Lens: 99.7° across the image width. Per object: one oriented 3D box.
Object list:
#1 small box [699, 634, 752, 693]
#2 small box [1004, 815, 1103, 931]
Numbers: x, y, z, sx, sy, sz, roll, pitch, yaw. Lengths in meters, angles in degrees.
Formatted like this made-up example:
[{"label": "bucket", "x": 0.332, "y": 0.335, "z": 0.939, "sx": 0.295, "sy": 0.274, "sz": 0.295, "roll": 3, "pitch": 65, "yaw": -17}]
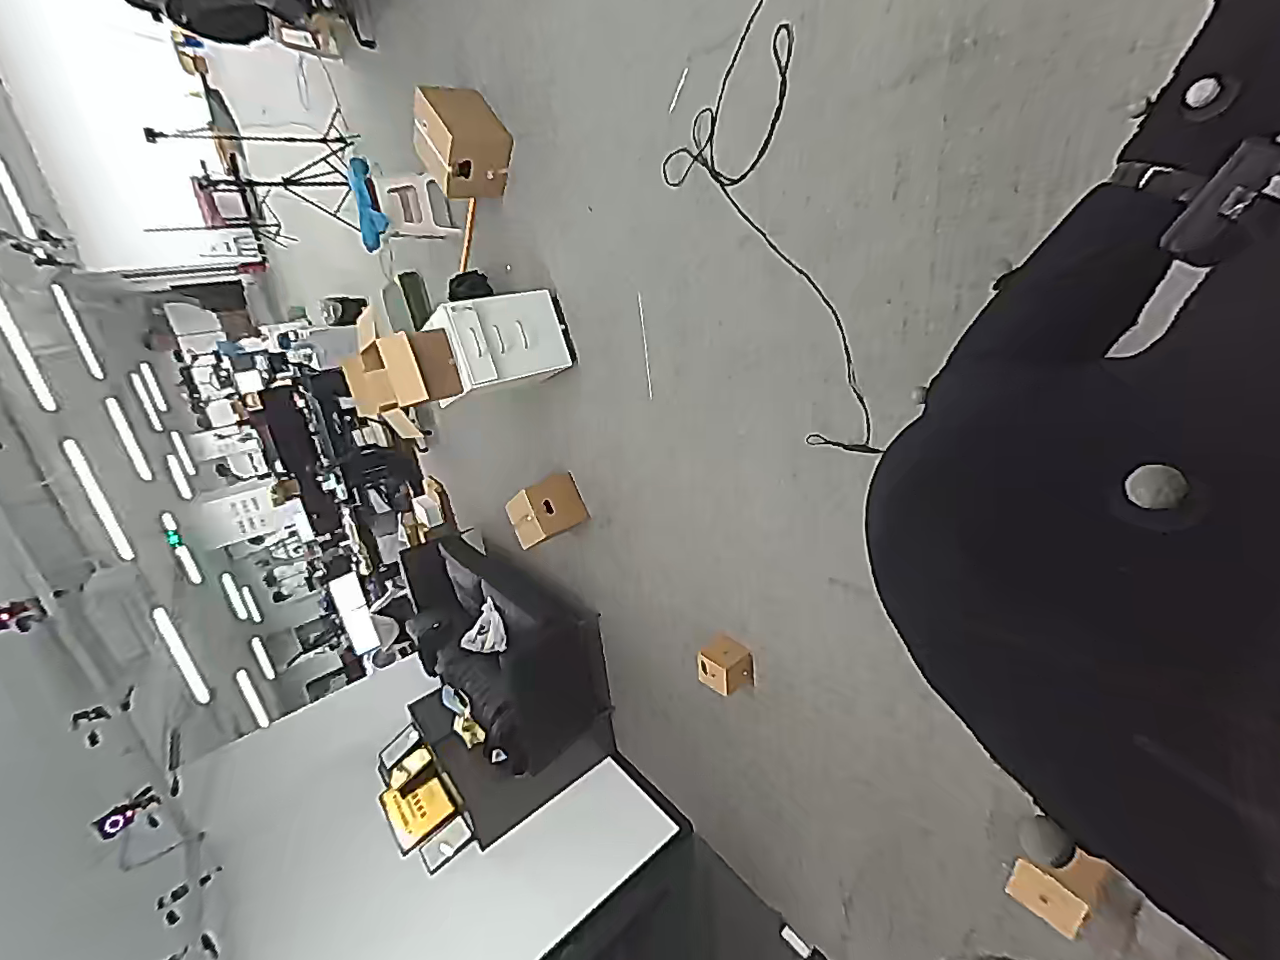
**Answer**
[{"label": "small box", "x": 0.398, "y": 0.843, "z": 2.510, "sx": 0.179, "sy": 0.176, "sz": 0.168, "roll": 21, "pitch": 125, "yaw": 47}, {"label": "small box", "x": 1.190, "y": 1.123, "z": 1.556, "sx": 0.168, "sy": 0.176, "sz": 0.179, "roll": 26, "pitch": 128, "yaw": 44}]
